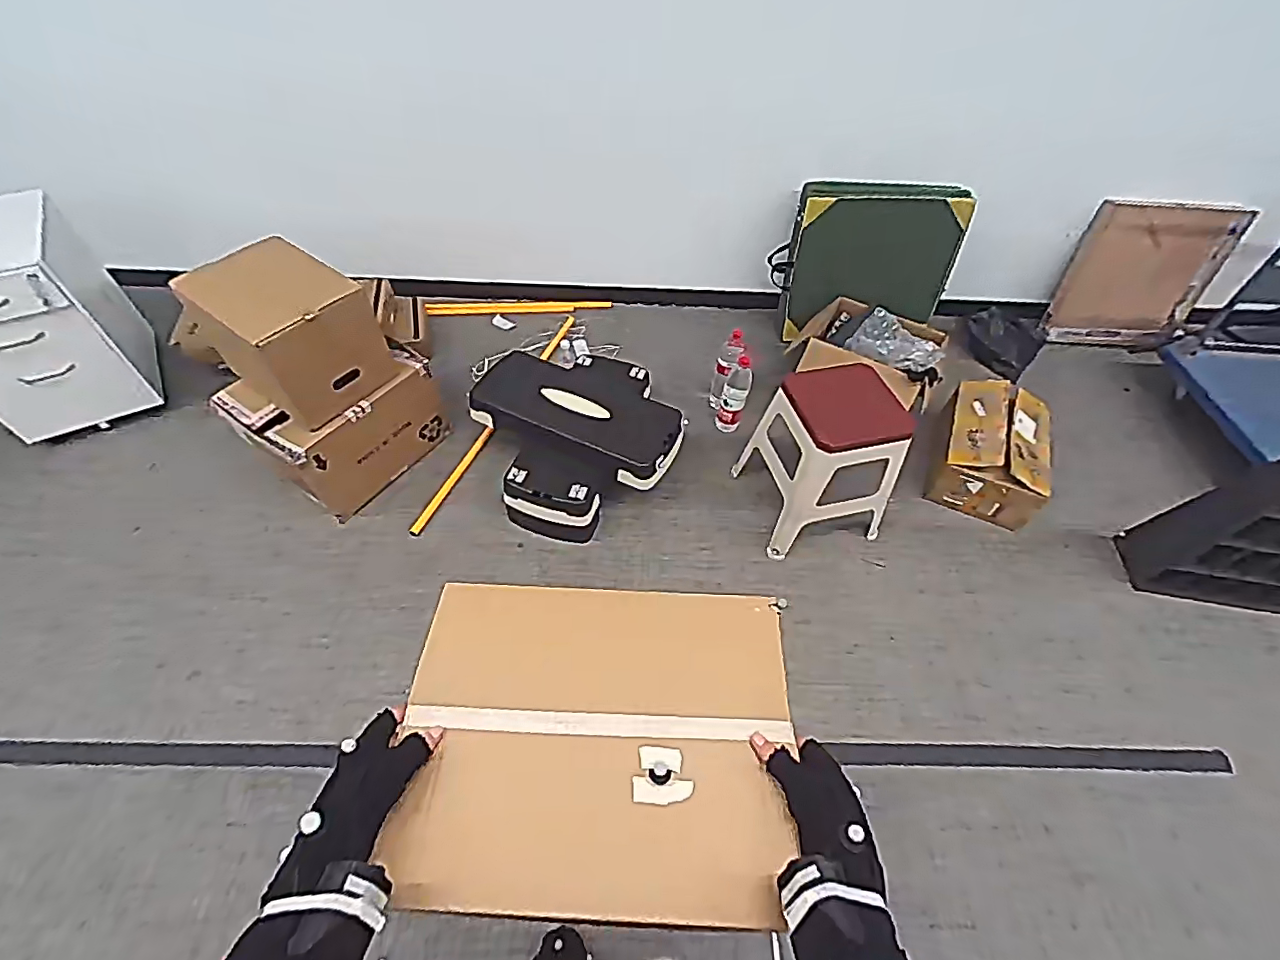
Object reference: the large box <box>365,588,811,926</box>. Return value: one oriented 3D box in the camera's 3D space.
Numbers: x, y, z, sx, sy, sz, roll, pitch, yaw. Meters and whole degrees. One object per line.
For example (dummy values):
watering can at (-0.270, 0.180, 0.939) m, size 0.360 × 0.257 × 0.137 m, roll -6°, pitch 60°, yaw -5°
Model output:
large box at (-0.045, 0.353, 0.681) m, size 0.408 × 0.320 × 0.320 m, roll 3°, pitch 50°, yaw 1°

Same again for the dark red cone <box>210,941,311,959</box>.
dark red cone at (-0.732, 0.894, 0.872) m, size 0.201 × 0.394 × 0.202 m, roll 8°, pitch 52°, yaw 2°
